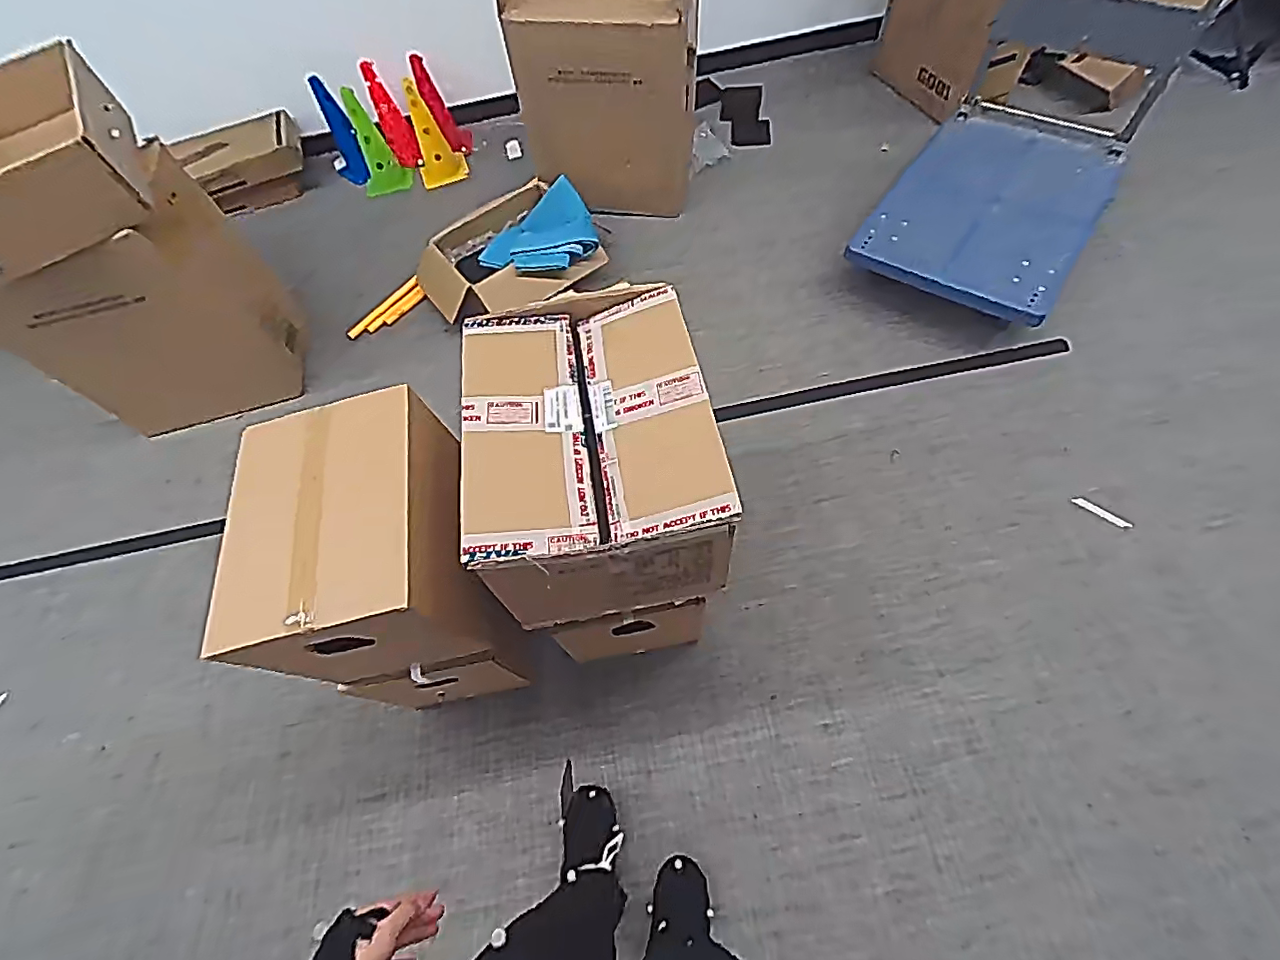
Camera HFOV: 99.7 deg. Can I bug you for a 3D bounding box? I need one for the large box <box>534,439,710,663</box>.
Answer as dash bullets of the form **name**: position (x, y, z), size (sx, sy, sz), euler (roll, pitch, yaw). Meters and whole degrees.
- **large box**: position (-0.041, 0.173, 1.270), size (0.320, 0.320, 0.408), euler (-12, 61, -1)
